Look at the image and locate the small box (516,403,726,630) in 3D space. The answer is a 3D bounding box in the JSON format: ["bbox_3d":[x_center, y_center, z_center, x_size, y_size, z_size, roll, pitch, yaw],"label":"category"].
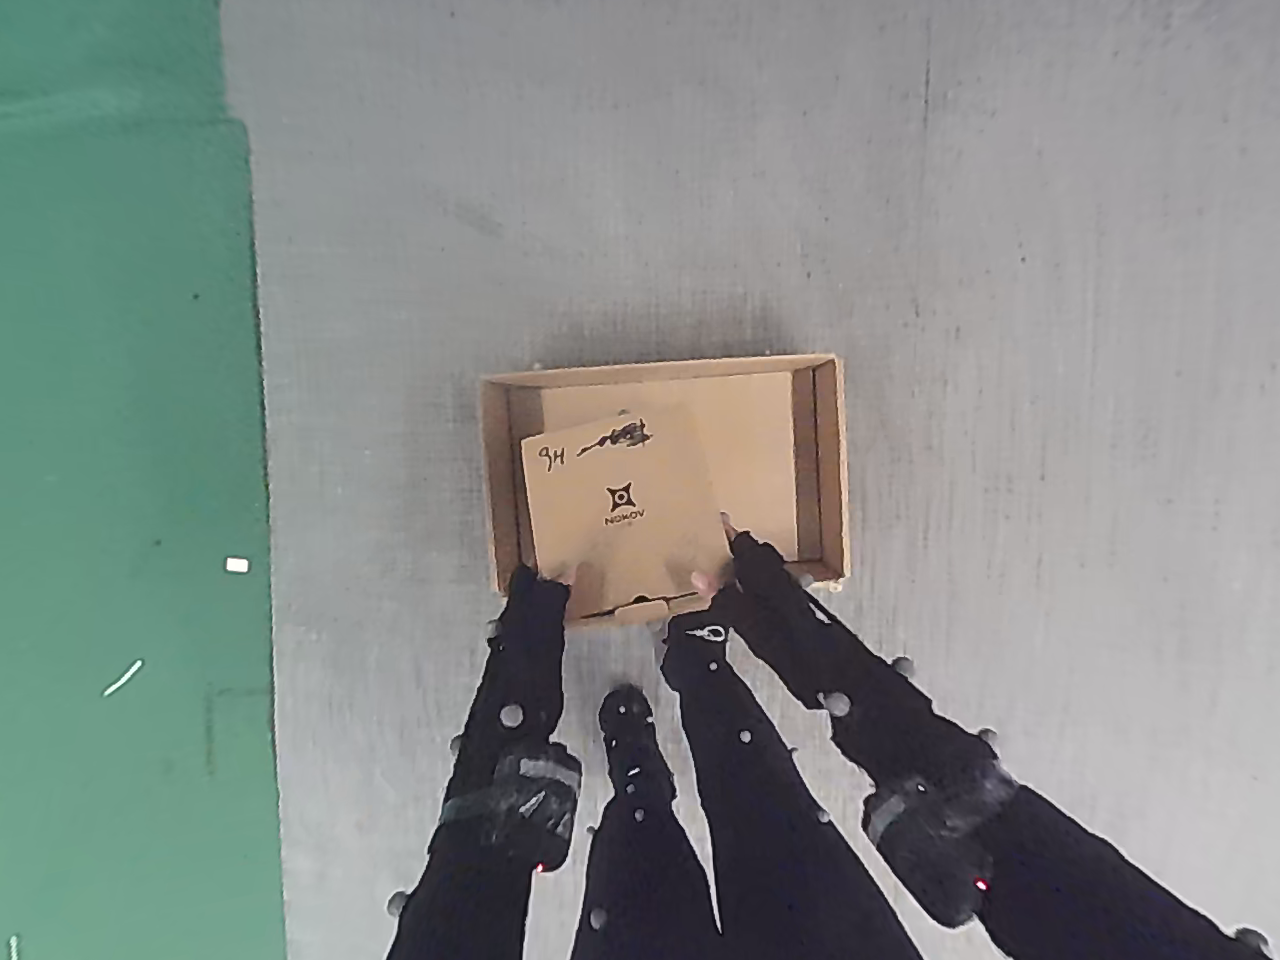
[{"bbox_3d":[-0.011,0.049,0.544,0.168,0.176,0.179,-12,72,4],"label":"small box"}]
